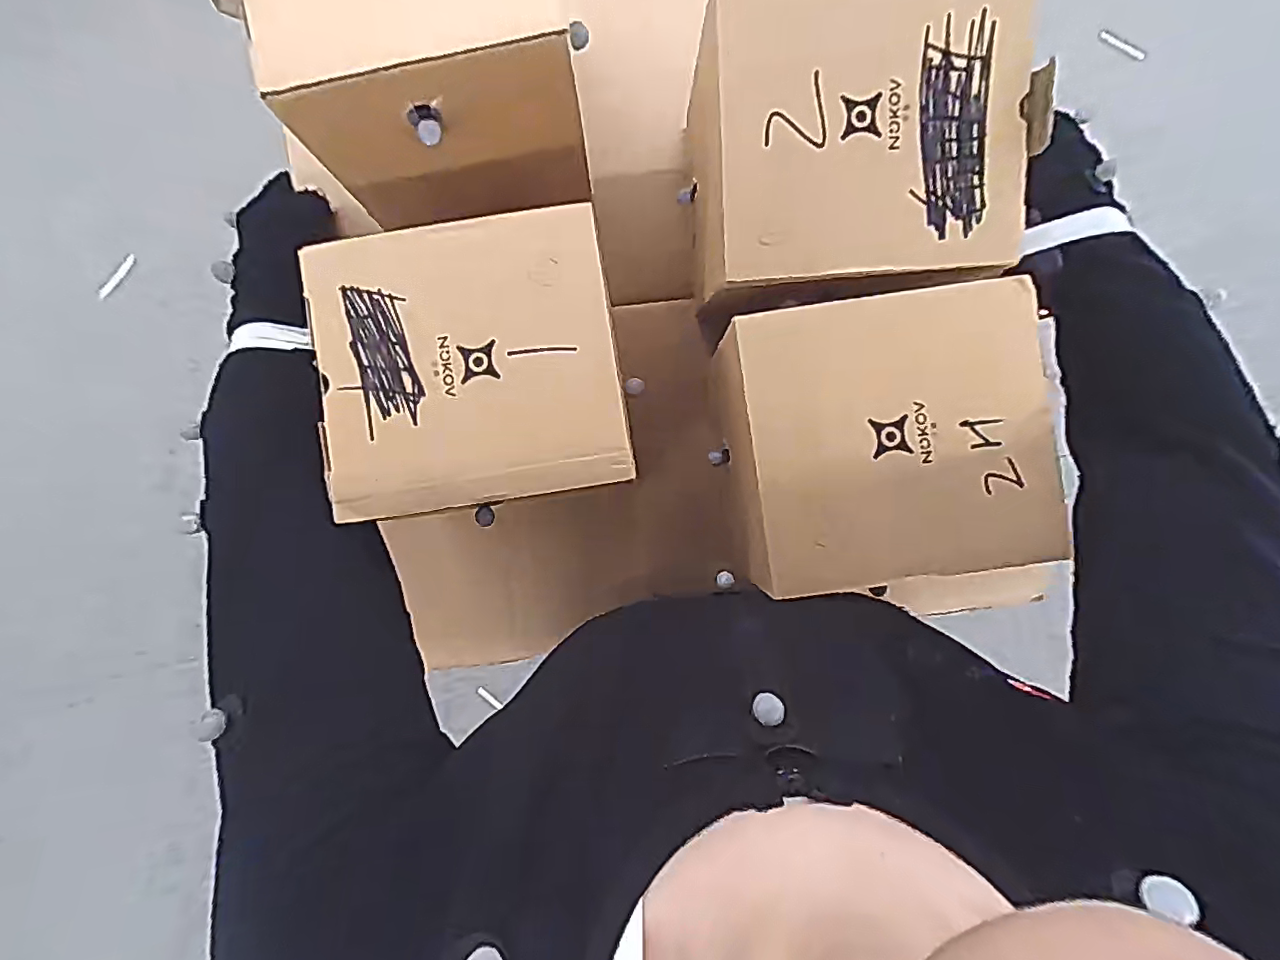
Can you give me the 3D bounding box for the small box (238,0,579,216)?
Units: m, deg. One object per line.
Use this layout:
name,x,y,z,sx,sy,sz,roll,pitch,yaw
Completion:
small box,-0.144,-0.316,0.377,0.179,0.176,0.168,-12,89,1
